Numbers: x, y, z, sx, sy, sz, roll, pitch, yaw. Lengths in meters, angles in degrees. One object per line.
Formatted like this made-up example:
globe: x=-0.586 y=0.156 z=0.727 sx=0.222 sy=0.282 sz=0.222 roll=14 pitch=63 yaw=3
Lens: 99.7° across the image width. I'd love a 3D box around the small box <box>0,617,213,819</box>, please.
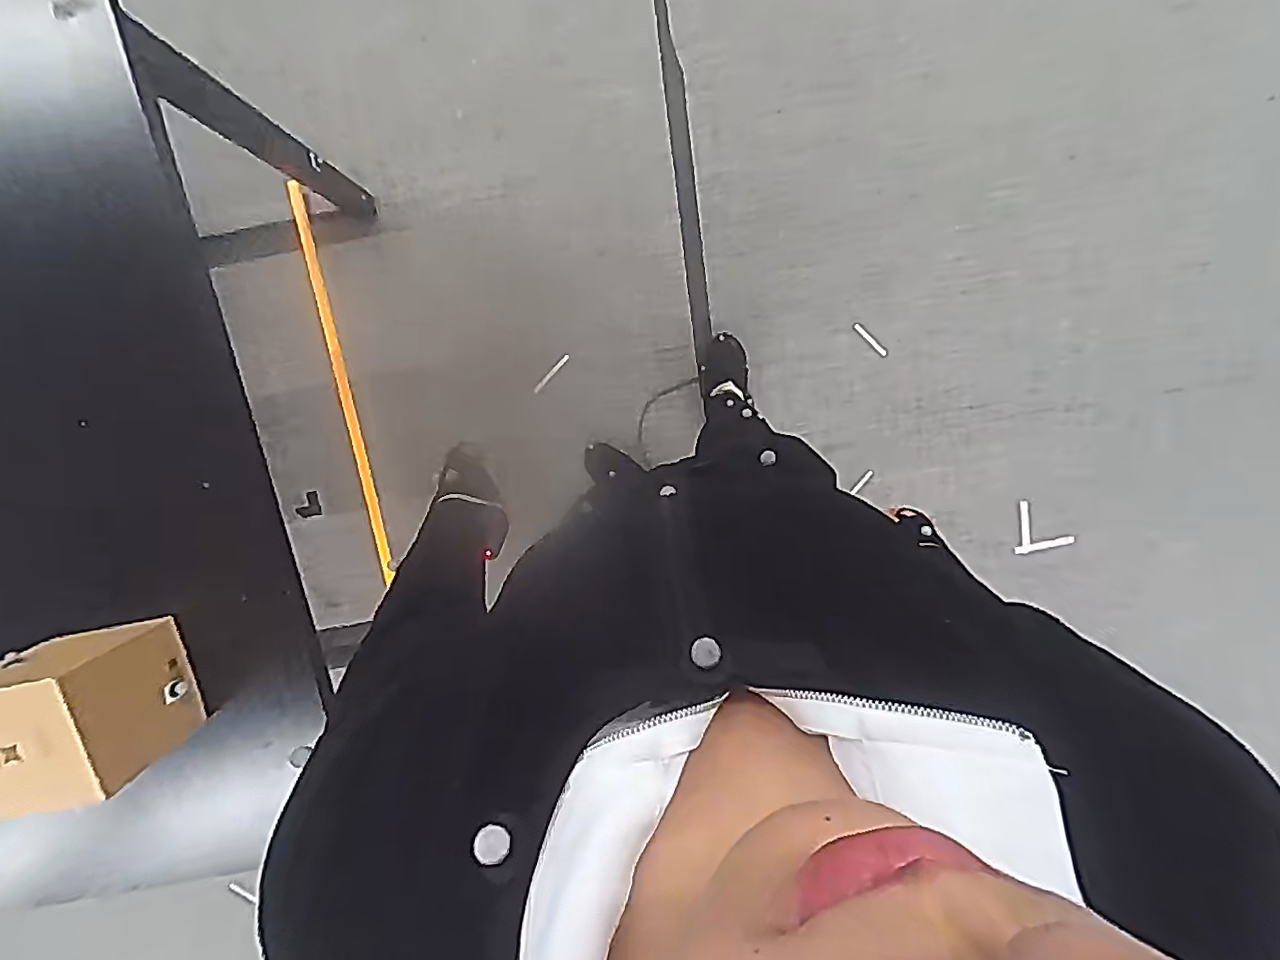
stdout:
small box: x=-0.724 y=0.300 z=0.708 sx=0.179 sy=0.176 sz=0.168 roll=-12 pitch=101 yaw=0
